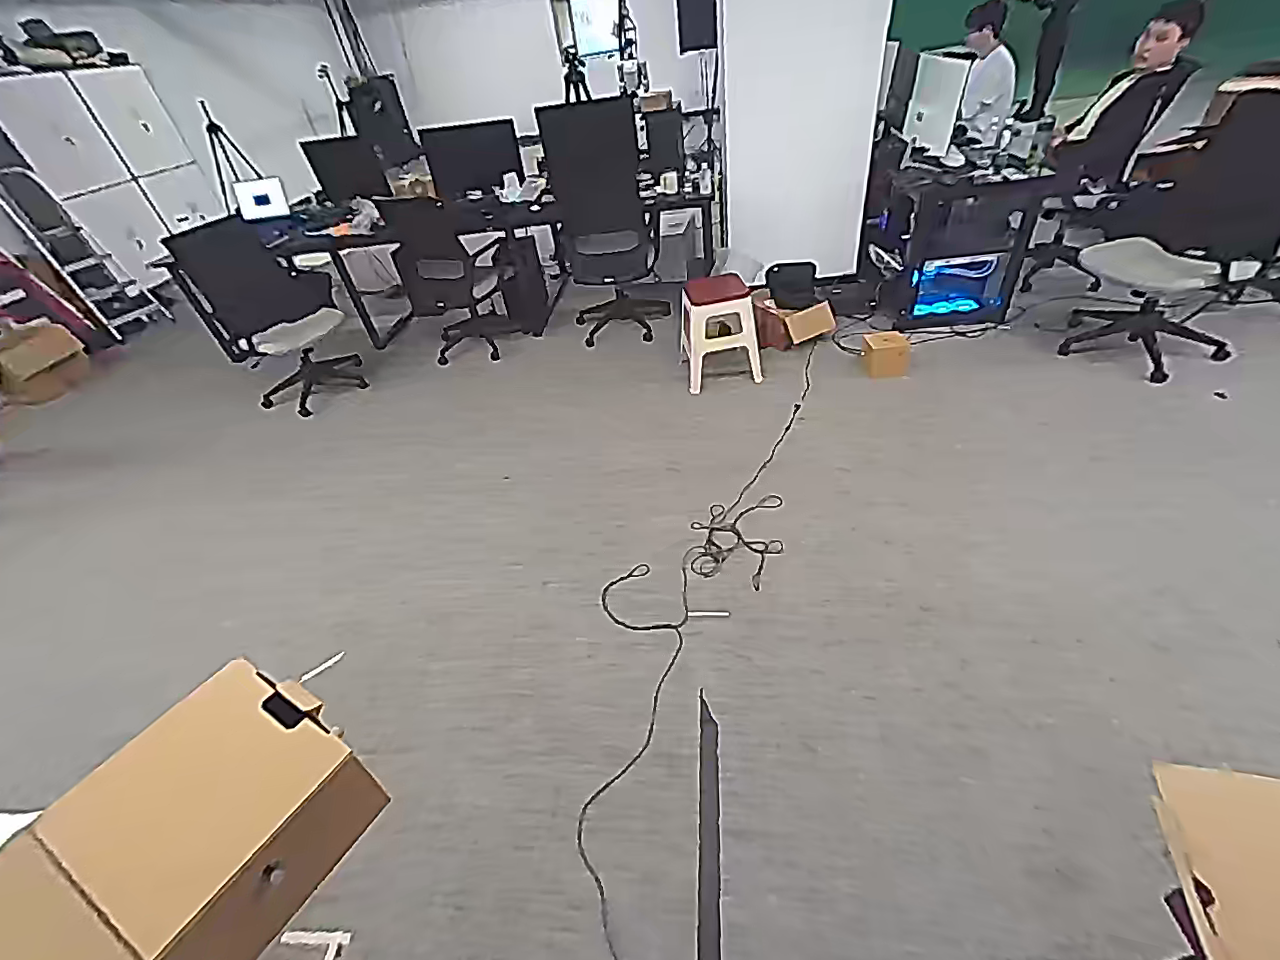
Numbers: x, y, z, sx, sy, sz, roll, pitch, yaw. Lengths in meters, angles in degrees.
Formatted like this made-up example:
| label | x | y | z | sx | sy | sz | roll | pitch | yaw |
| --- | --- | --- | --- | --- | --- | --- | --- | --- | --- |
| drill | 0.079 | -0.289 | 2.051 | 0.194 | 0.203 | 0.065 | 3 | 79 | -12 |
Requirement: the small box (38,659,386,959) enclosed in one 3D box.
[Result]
| label | x | y | z | sx | sy | sz | roll | pitch | yaw |
| --- | --- | --- | --- | --- | --- | --- | --- | --- | --- |
| small box | -0.379 | 0.318 | 0.517 | 0.168 | 0.176 | 0.179 | 28 | 48 | 17 |
